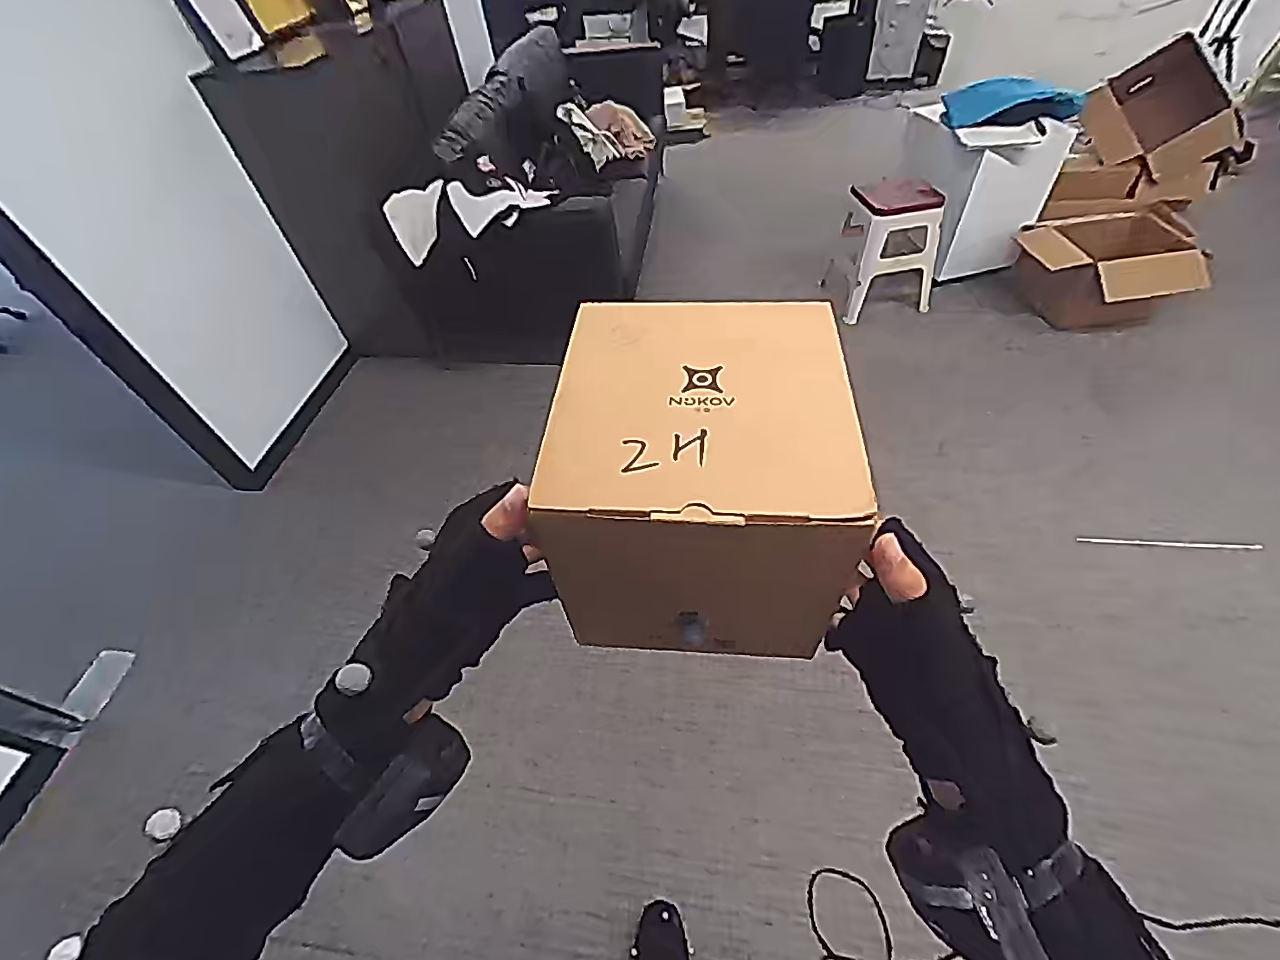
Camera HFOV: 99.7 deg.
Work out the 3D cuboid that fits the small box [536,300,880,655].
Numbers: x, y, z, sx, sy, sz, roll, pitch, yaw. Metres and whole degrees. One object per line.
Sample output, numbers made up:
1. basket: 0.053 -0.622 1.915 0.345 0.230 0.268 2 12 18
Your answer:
1. small box: 0.042 -0.001 0.368 0.168 0.176 0.179 1 52 6
